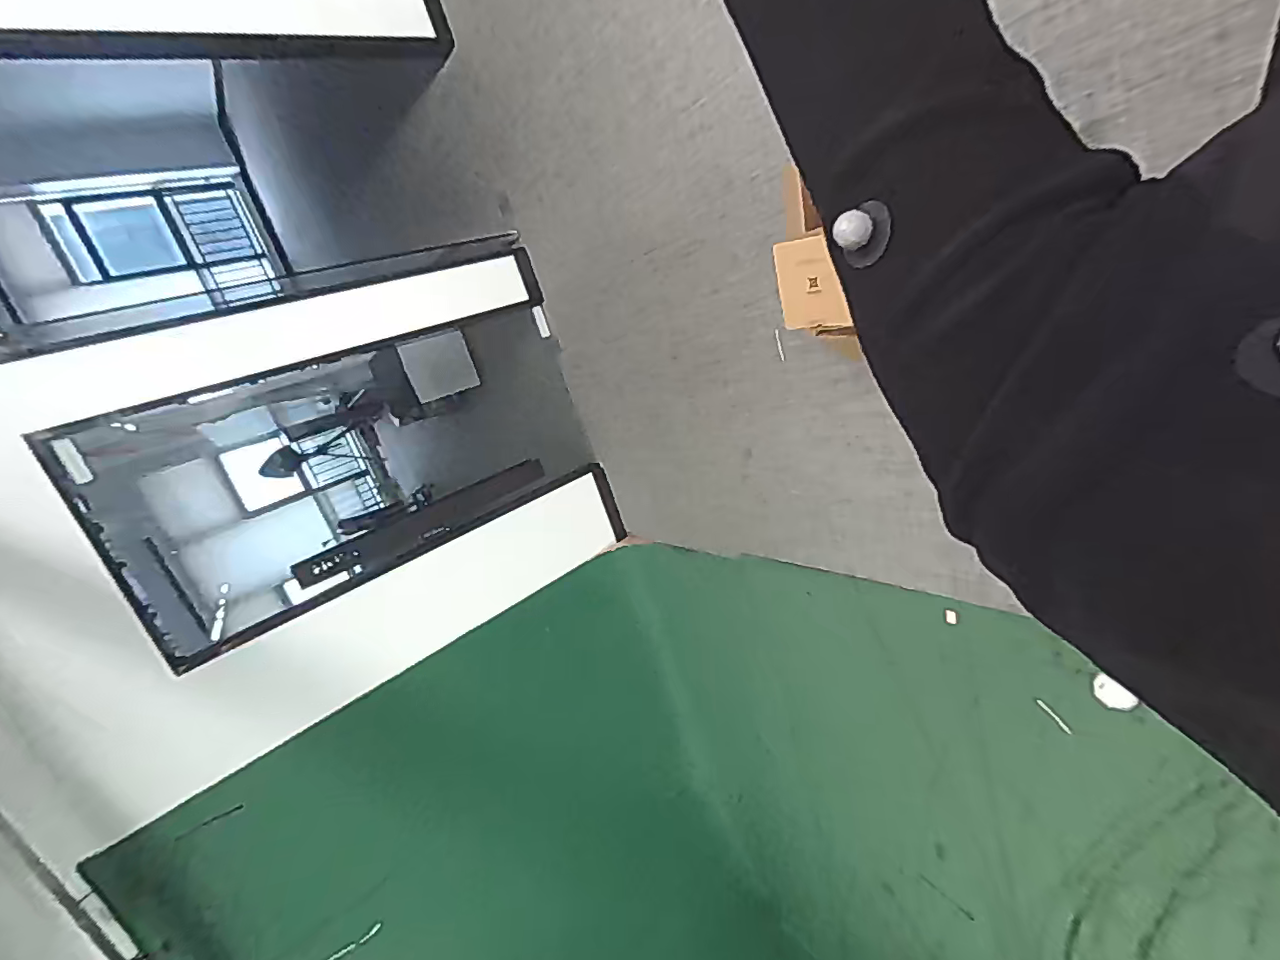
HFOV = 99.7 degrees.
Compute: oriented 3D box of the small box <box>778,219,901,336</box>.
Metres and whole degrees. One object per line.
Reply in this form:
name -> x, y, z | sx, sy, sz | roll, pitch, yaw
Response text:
small box -> 0.410, -0.409, 1.100 | 0.168, 0.176, 0.179 | 12, 126, 50
